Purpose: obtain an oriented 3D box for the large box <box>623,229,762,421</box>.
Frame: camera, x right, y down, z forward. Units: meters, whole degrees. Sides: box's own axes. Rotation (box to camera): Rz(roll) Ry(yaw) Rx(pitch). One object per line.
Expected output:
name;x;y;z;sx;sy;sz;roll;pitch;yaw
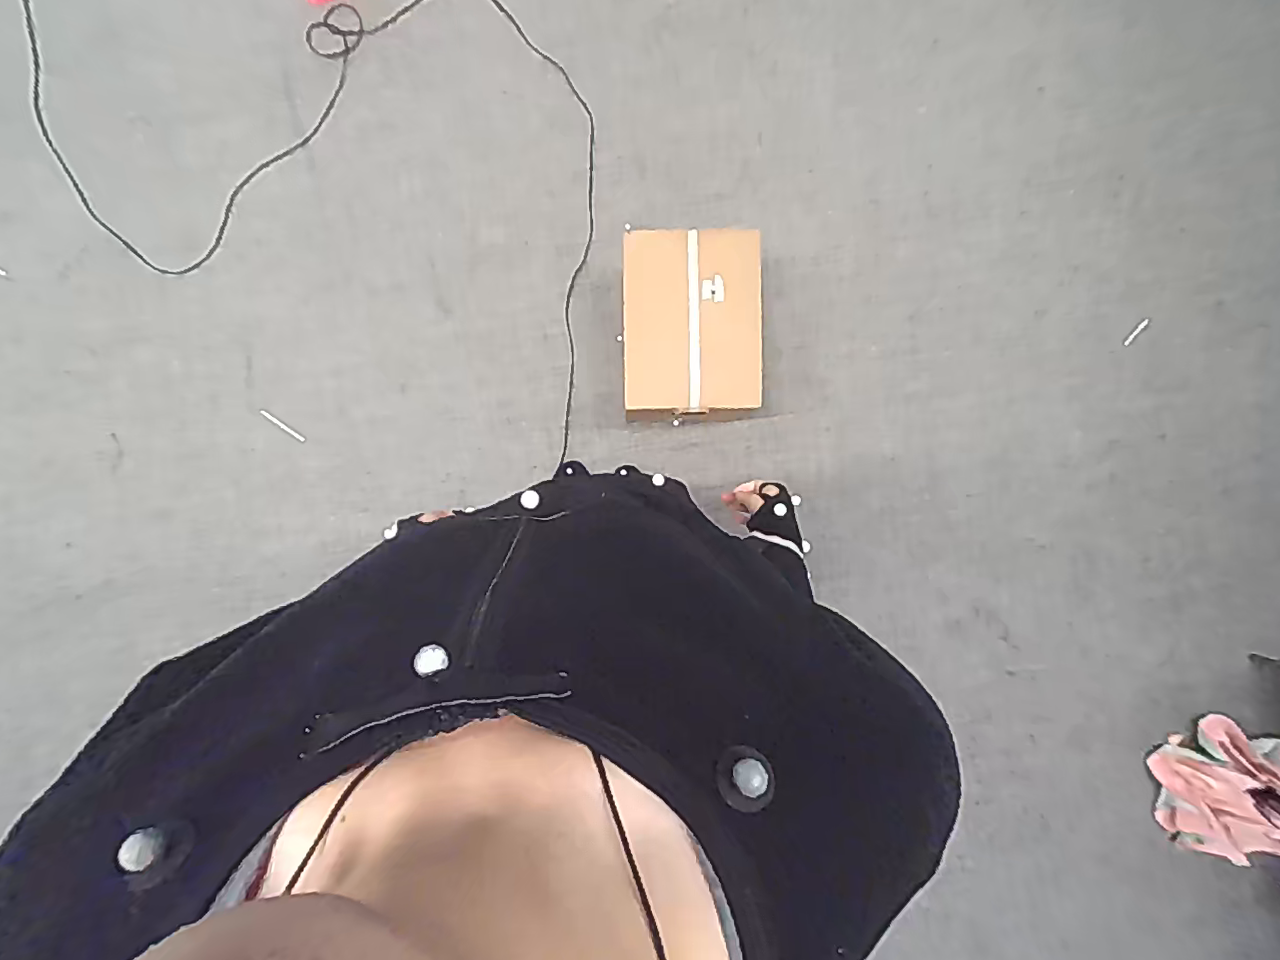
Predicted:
large box;0.118;-0.366;1.367;0.320;0.320;0.408;0;90;-1
